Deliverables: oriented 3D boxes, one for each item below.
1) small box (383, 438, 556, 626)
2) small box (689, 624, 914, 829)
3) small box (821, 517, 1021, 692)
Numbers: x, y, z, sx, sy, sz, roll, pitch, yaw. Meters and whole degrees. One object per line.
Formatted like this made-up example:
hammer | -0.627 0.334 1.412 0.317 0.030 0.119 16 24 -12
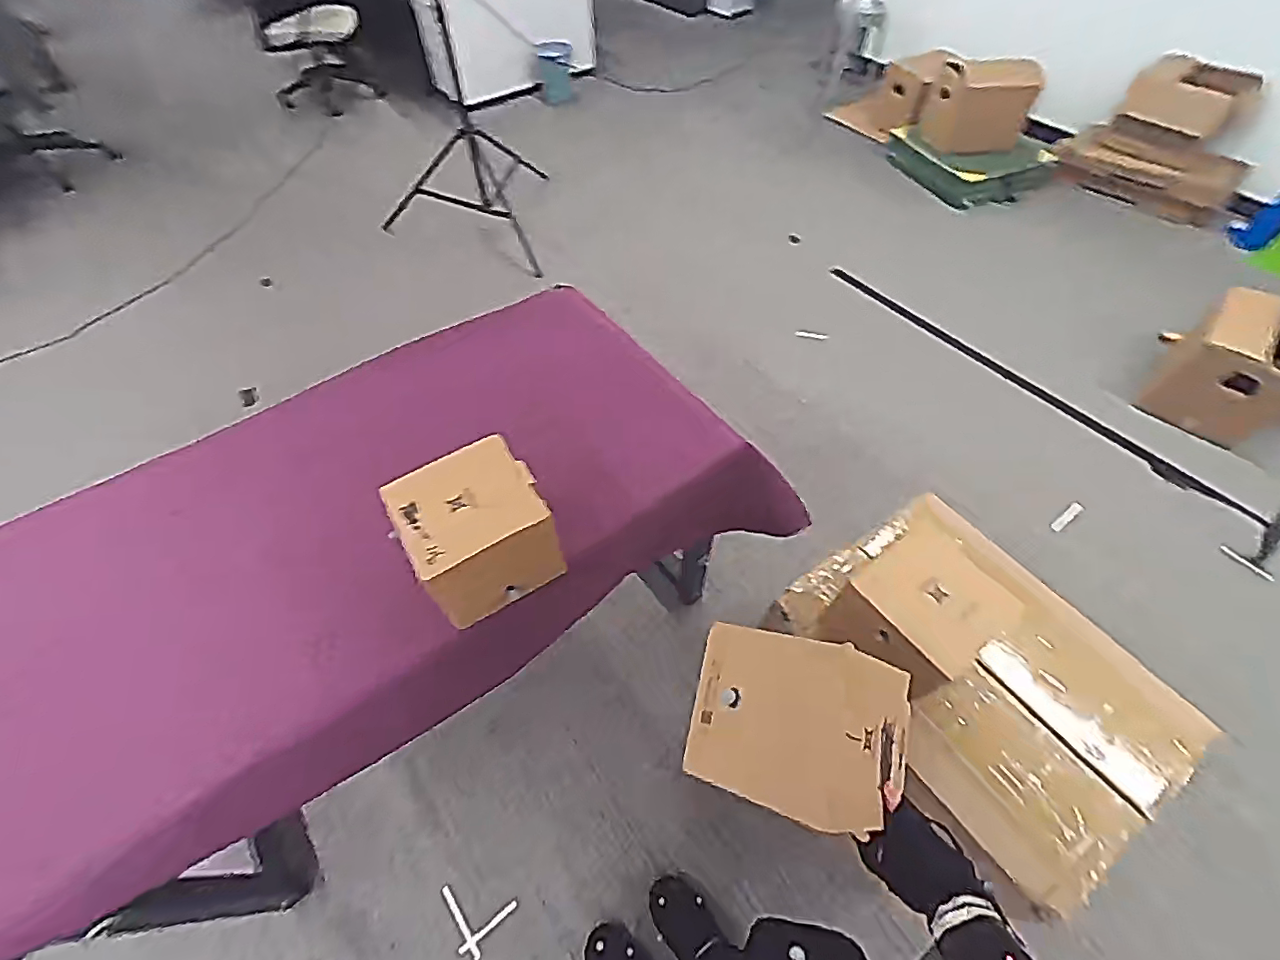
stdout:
small box | -0.231 0.077 0.776 0.179 0.176 0.168 -28 58 -19
small box | 0.185 0.270 0.612 0.176 0.179 0.168 -5 62 46
small box | 0.403 0.195 0.812 0.168 0.176 0.179 -34 62 -18
